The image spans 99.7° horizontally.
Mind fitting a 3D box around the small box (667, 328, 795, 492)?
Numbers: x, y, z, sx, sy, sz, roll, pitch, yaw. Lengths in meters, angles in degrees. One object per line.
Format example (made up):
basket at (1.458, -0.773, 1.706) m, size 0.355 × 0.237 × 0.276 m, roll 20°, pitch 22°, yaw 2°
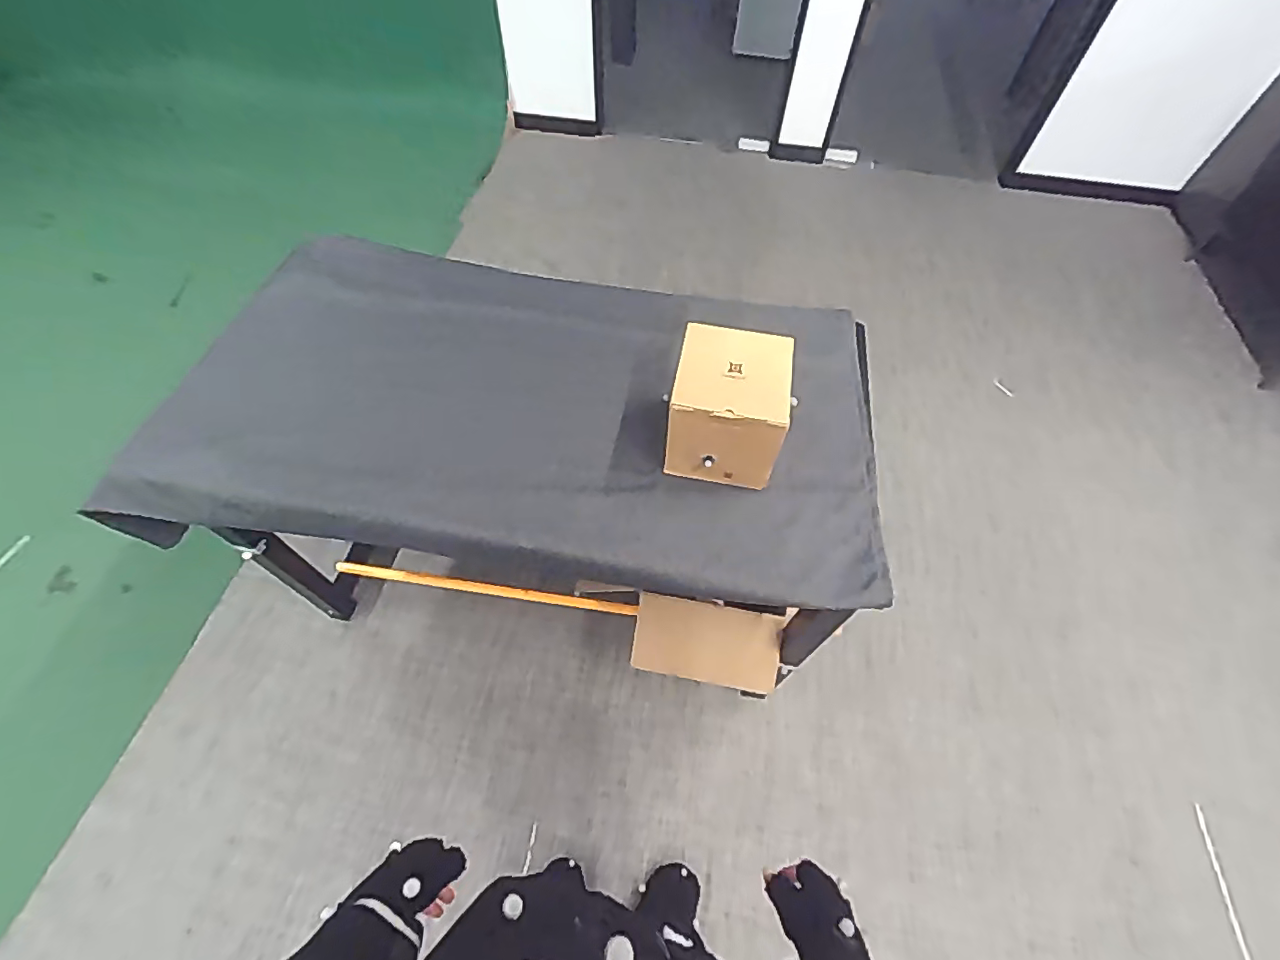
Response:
small box at (0.138, -0.107, 0.850) m, size 0.168 × 0.176 × 0.179 m, roll 10°, pitch 57°, yaw 5°
